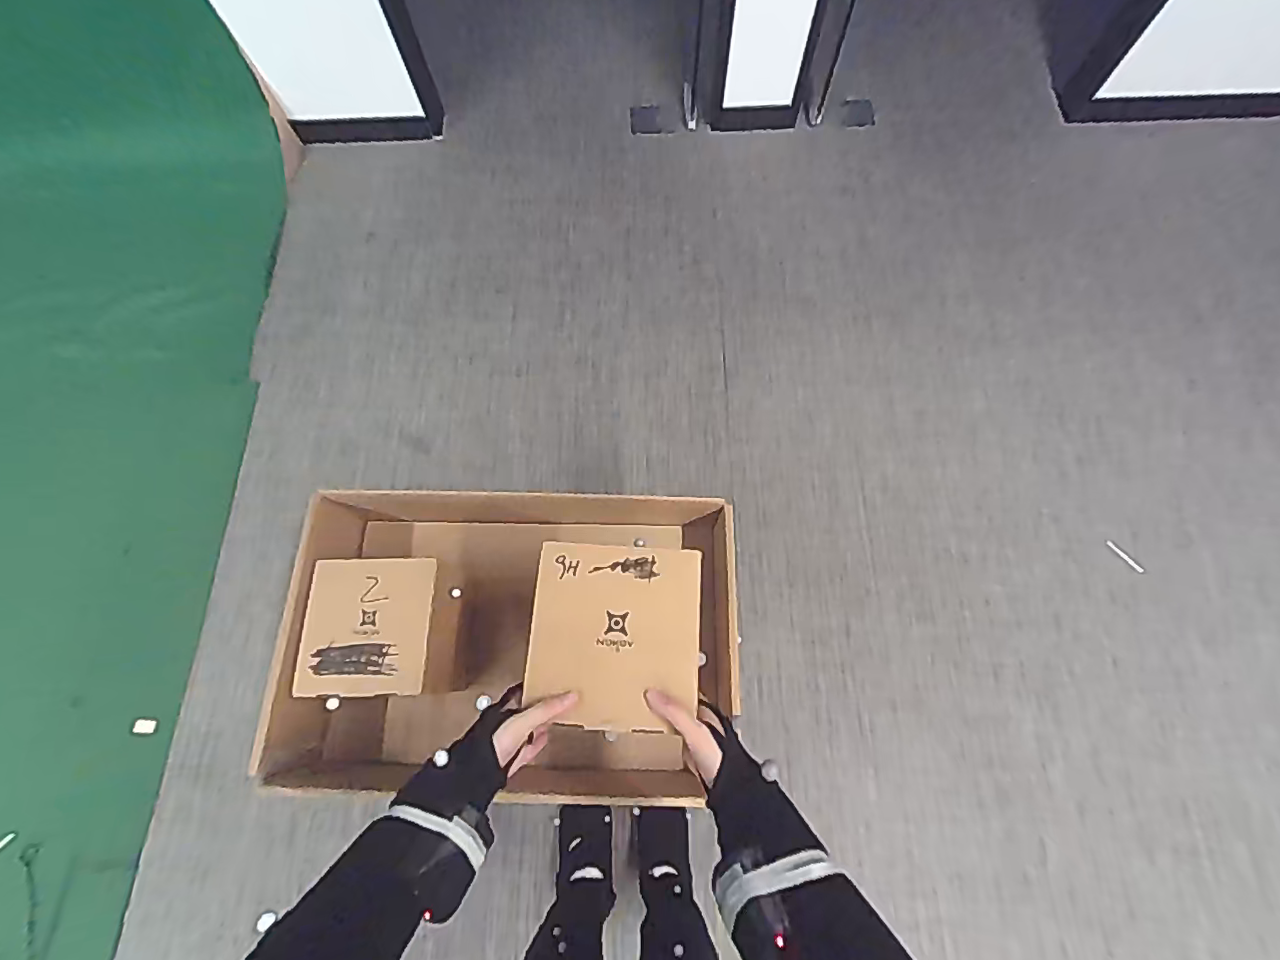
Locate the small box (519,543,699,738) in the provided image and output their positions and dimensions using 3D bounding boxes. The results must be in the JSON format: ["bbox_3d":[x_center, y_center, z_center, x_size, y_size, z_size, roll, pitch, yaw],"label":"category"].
[{"bbox_3d":[-0.024,0.178,0.602,0.168,0.176,0.179,3,69,2],"label":"small box"}]
